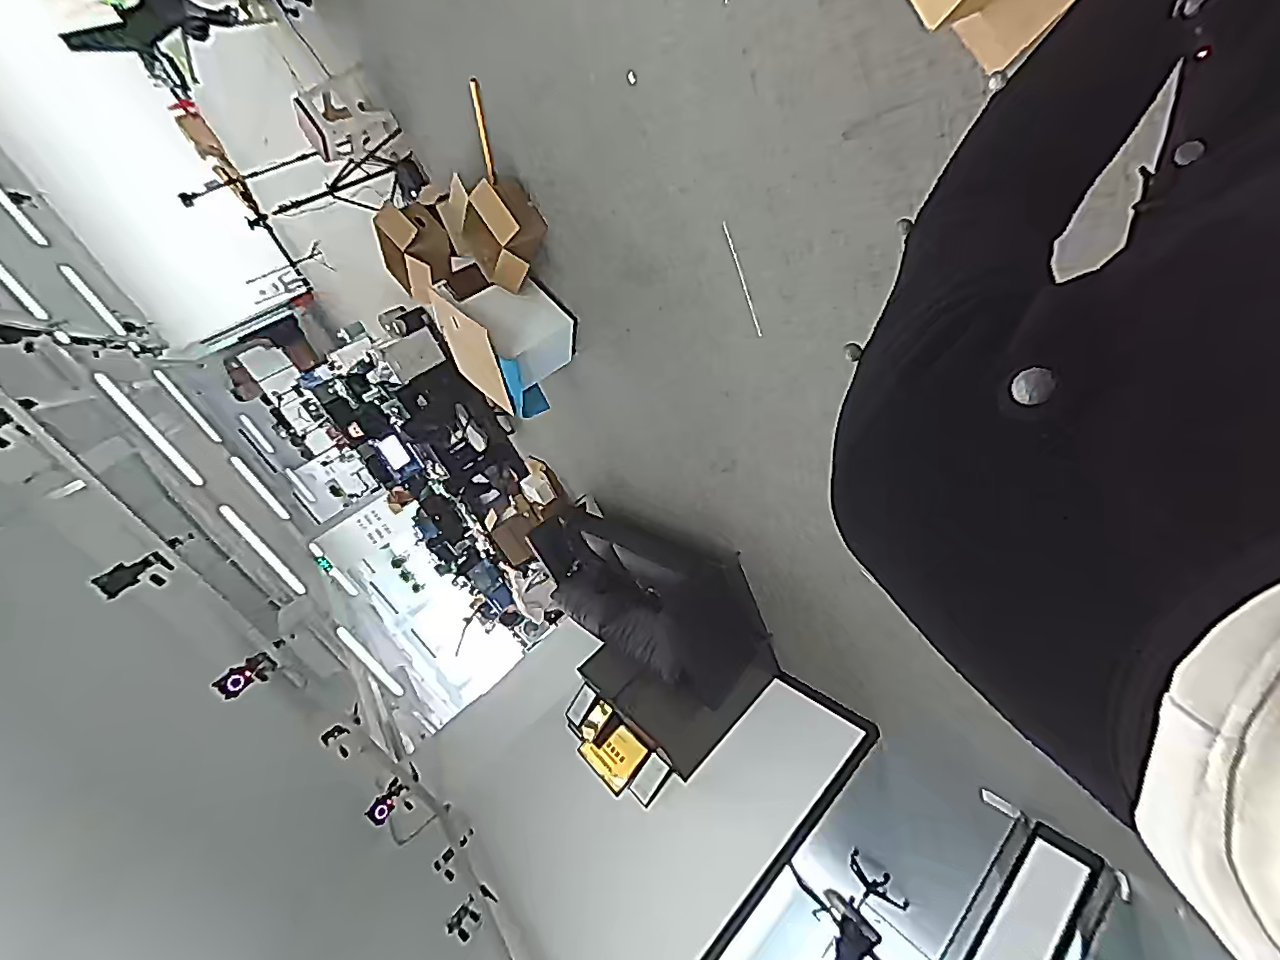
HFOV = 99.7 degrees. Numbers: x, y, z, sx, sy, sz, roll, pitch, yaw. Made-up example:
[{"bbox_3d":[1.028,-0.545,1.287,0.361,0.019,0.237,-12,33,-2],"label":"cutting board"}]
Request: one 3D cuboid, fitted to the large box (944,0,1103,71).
[{"bbox_3d":[0.746,-1.007,0.885,0.320,0.320,0.408,52,156,-2],"label":"large box"}]
